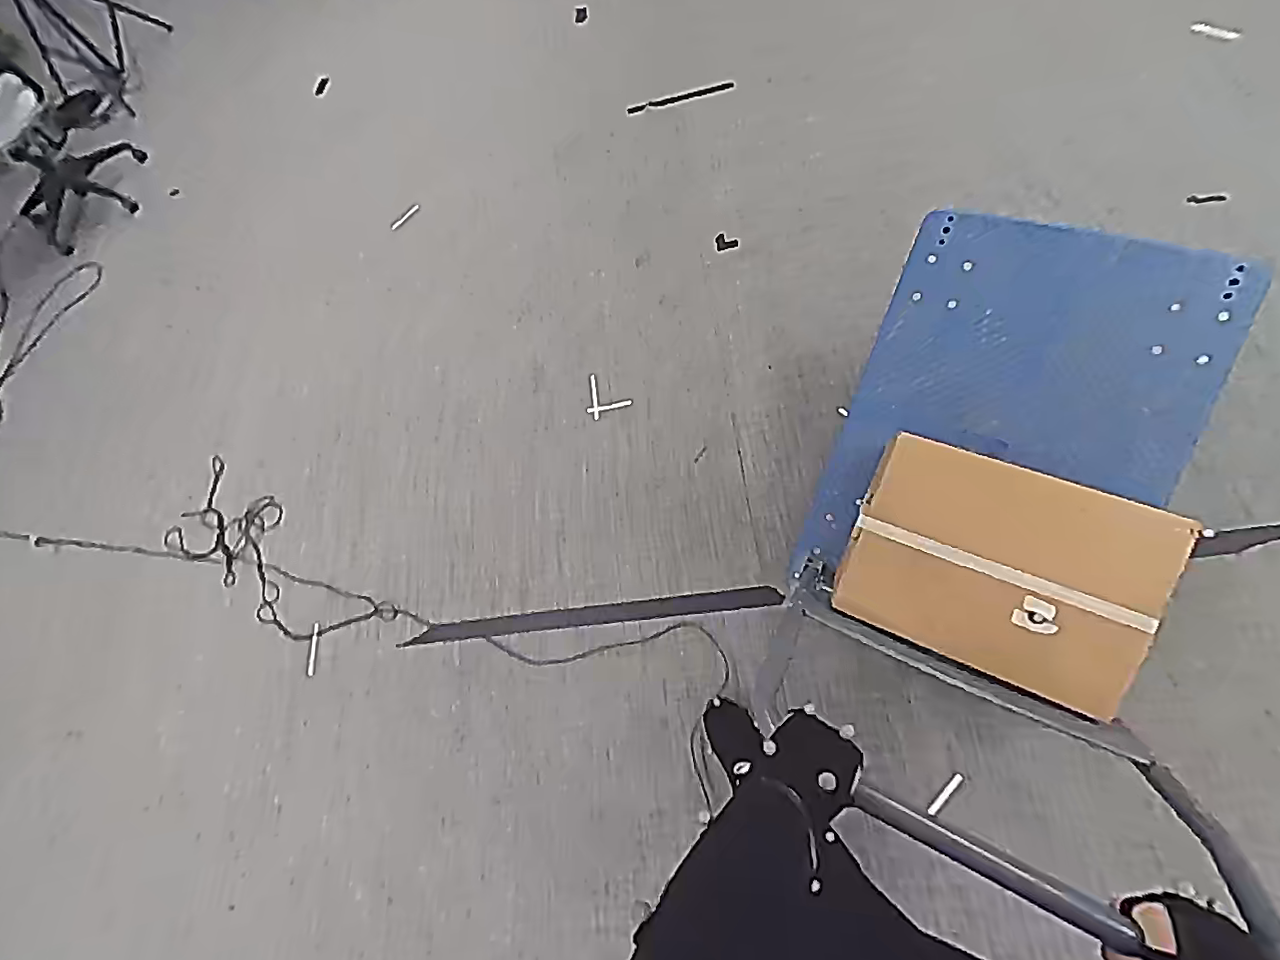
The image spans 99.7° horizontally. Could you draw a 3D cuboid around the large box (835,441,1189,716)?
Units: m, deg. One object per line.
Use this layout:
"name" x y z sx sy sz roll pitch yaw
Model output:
"large box" 0.600 0.142 0.977 0.408 0.320 0.320 21 97 19
